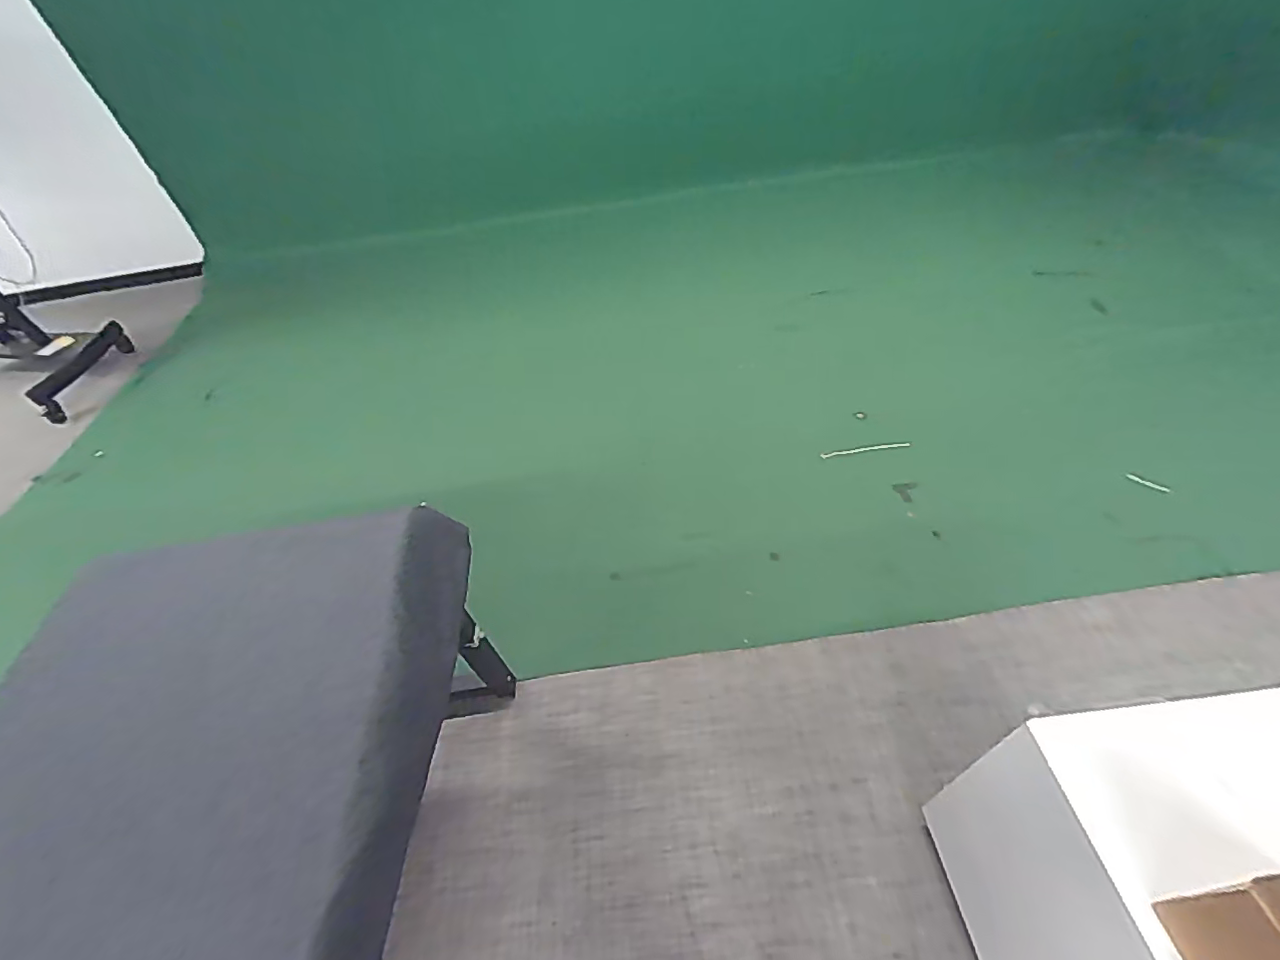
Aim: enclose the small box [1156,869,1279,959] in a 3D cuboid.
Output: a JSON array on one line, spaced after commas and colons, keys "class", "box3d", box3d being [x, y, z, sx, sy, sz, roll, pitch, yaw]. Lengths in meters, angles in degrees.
[{"class": "small box", "box3d": [0.658, 0.464, 0.500, 0.179, 0.176, 0.168, -13, 47, 0]}]
